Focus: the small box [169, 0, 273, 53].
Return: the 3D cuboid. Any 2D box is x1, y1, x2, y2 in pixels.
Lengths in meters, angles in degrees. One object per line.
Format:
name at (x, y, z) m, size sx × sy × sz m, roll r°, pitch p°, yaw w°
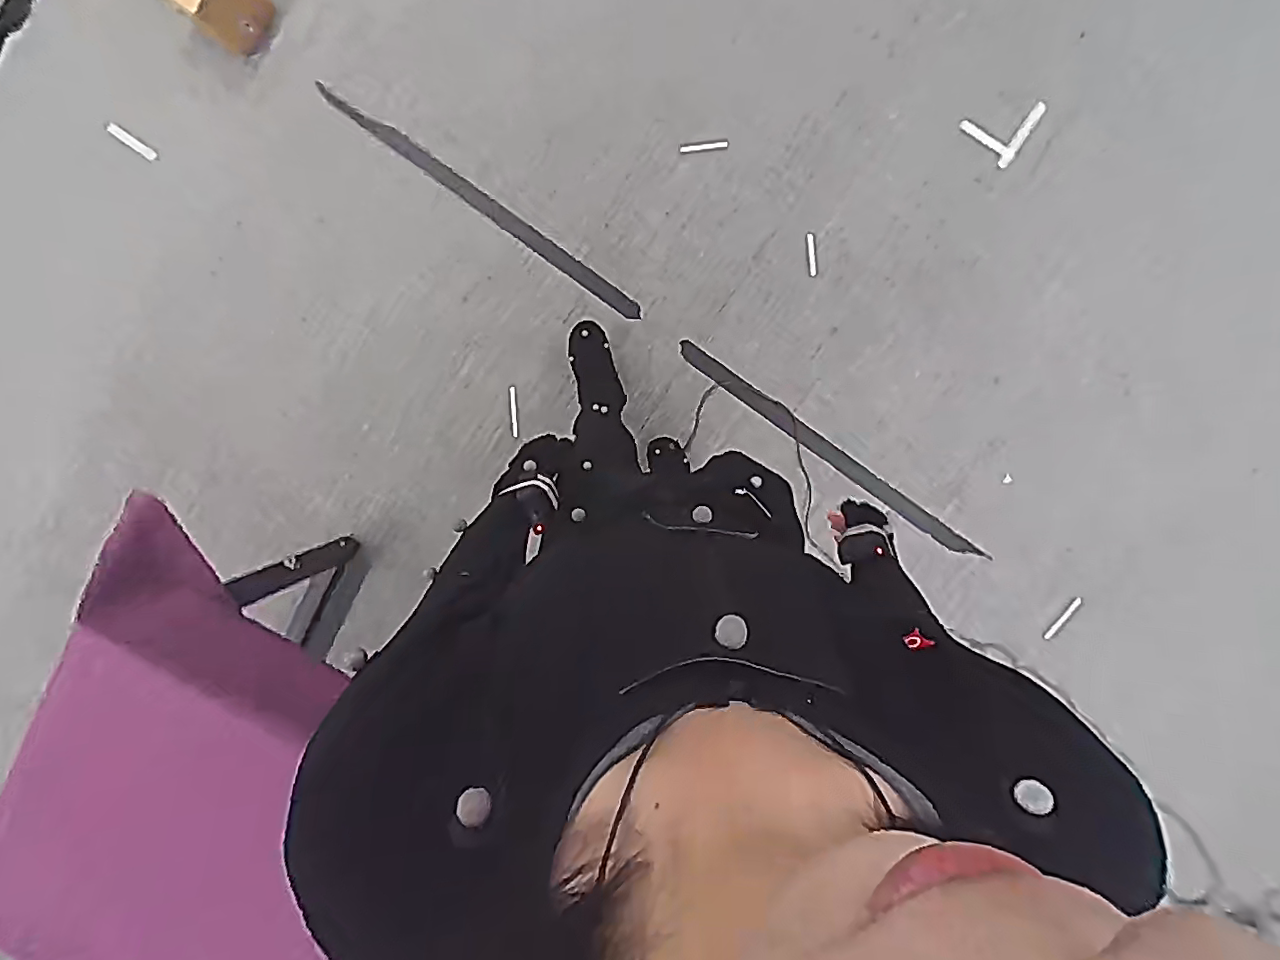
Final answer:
small box at (-1.072, -1.223, 1.340) m, size 0.179 × 0.176 × 0.168 m, roll 34°, pitch 98°, yaw -2°
